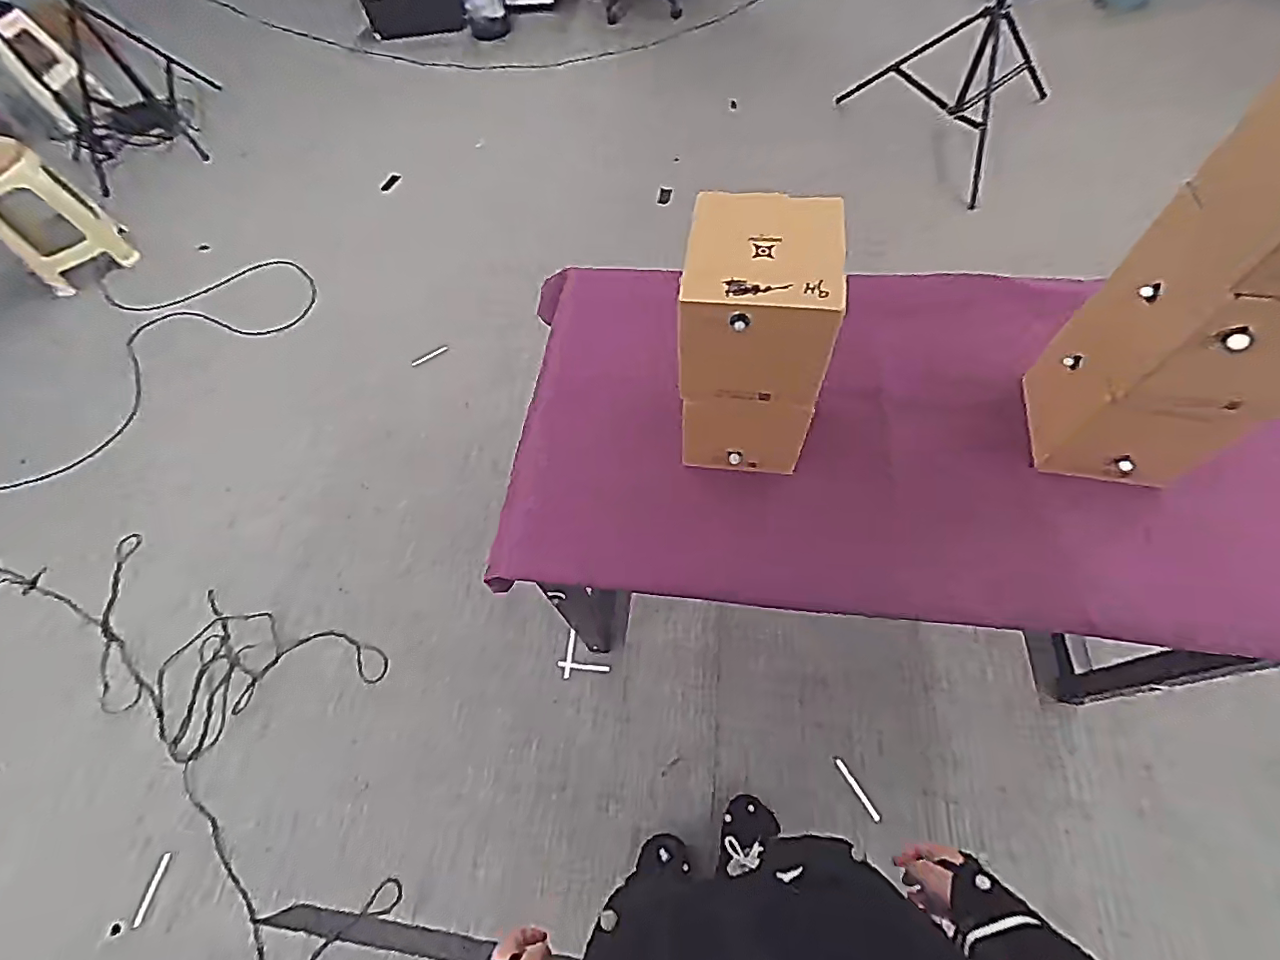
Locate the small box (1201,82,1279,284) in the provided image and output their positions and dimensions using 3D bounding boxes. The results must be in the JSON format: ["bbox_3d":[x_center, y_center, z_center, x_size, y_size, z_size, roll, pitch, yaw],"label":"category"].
[{"bbox_3d":[0.628,-0.265,0.438,0.168,0.176,0.179,11,62,10],"label":"small box"}]

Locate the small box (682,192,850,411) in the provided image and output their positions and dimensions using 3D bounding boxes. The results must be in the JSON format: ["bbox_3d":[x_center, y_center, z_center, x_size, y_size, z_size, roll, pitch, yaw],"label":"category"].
[{"bbox_3d":[0.141,-0.207,0.638,0.168,0.176,0.179,6,62,9],"label":"small box"}]

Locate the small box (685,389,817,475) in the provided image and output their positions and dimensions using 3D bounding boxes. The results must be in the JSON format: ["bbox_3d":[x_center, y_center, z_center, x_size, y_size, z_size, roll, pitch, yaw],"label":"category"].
[{"bbox_3d":[0.156,-0.129,0.782,0.168,0.176,0.179,6,63,8],"label":"small box"}]

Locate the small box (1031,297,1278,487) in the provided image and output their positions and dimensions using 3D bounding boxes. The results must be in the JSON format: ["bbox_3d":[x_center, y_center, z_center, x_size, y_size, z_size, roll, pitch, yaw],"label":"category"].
[{"bbox_3d":[0.660,-0.115,0.726,0.168,0.176,0.179,9,63,11],"label":"small box"}]
